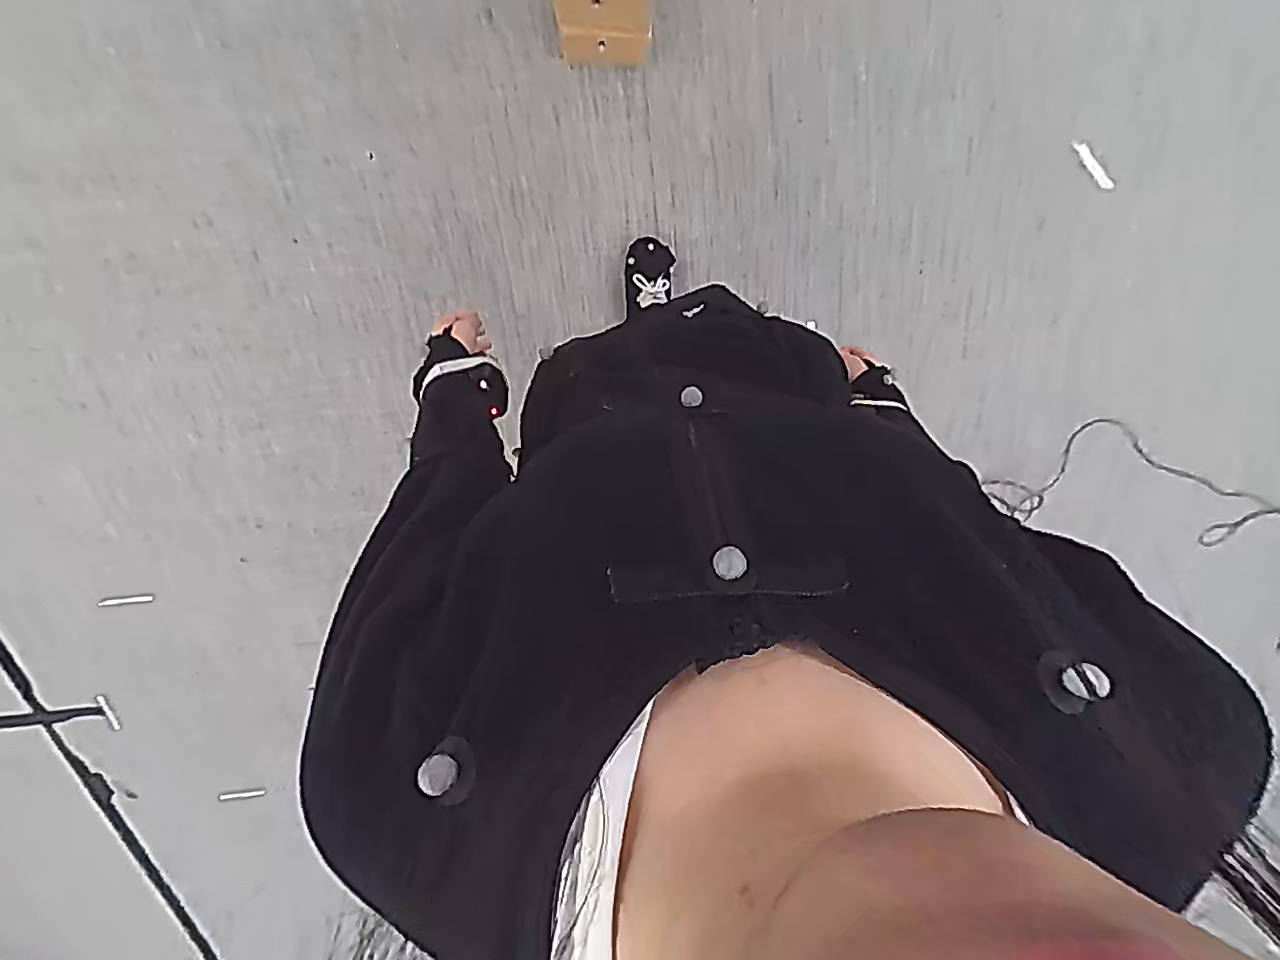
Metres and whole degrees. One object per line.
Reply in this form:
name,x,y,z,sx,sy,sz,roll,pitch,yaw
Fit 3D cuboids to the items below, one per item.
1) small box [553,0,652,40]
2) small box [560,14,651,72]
small box,-0.062,-0.897,0.934,0.179,0.176,0.168,3,112,-5
small box,-0.071,-0.949,1.090,0.179,0.176,0.168,0,112,-4
